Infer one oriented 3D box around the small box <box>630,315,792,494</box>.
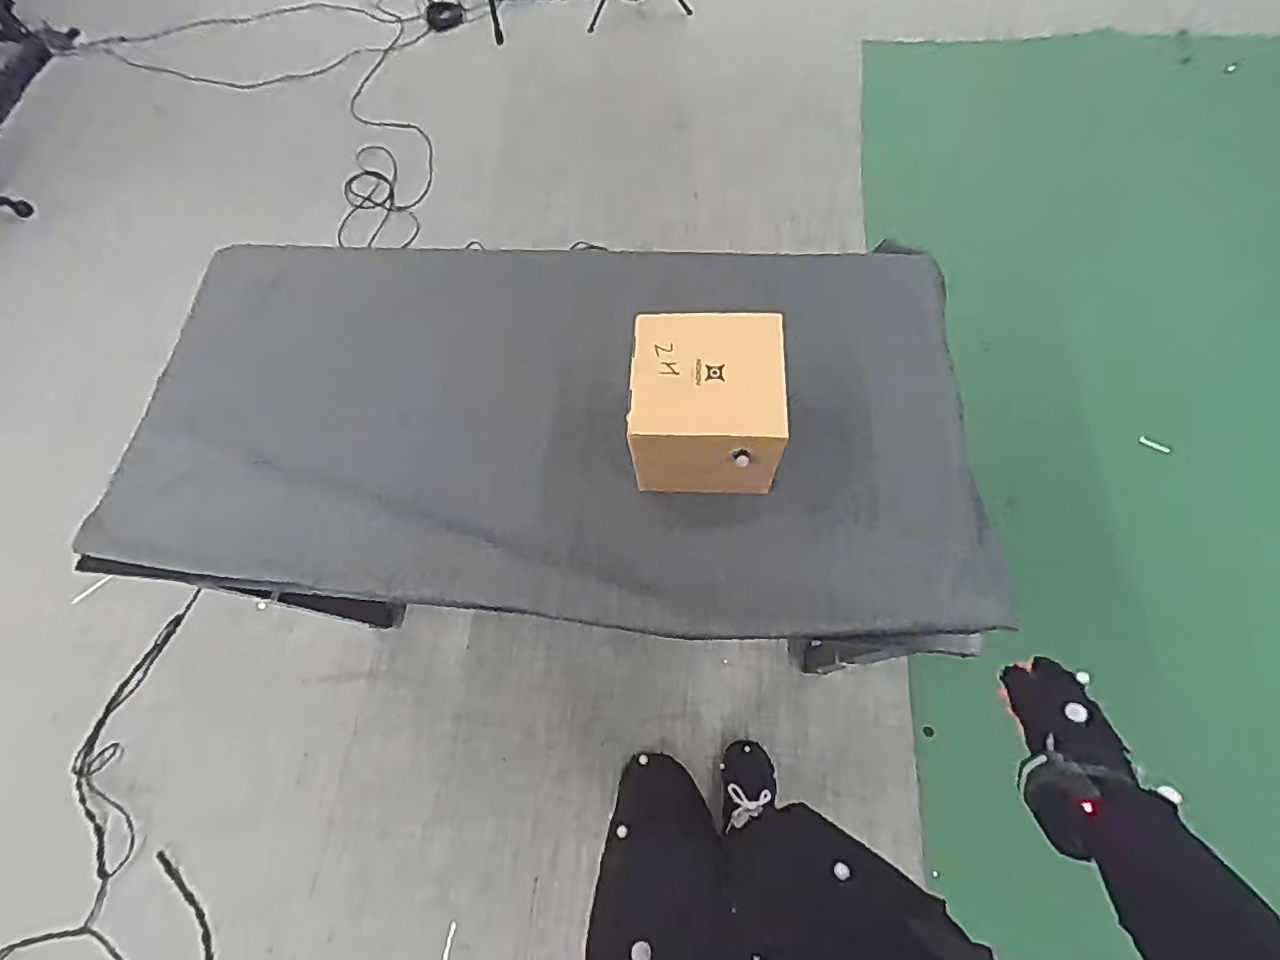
[{"bbox_3d":[0.086,-0.088,0.685,0.179,0.176,0.168,2,67,6],"label":"small box"}]
